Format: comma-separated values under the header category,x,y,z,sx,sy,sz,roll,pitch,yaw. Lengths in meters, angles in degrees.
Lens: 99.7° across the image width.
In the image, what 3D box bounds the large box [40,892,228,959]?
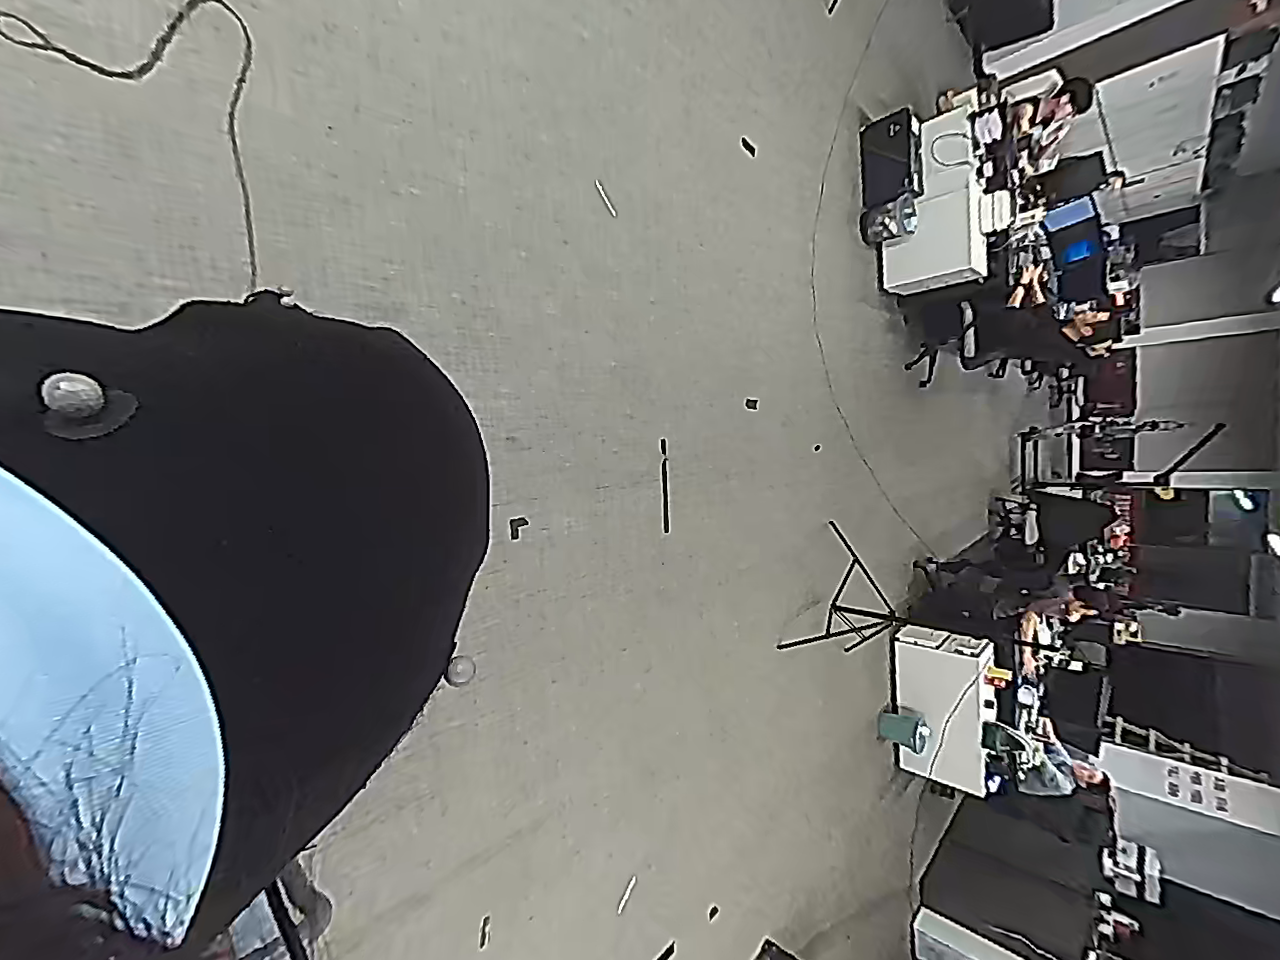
category,x,y,z,sx,sy,sz,roll,pitch,yaw
large box,-0.893,0.957,0.823,0.408,0.320,0.320,0,90,-47
